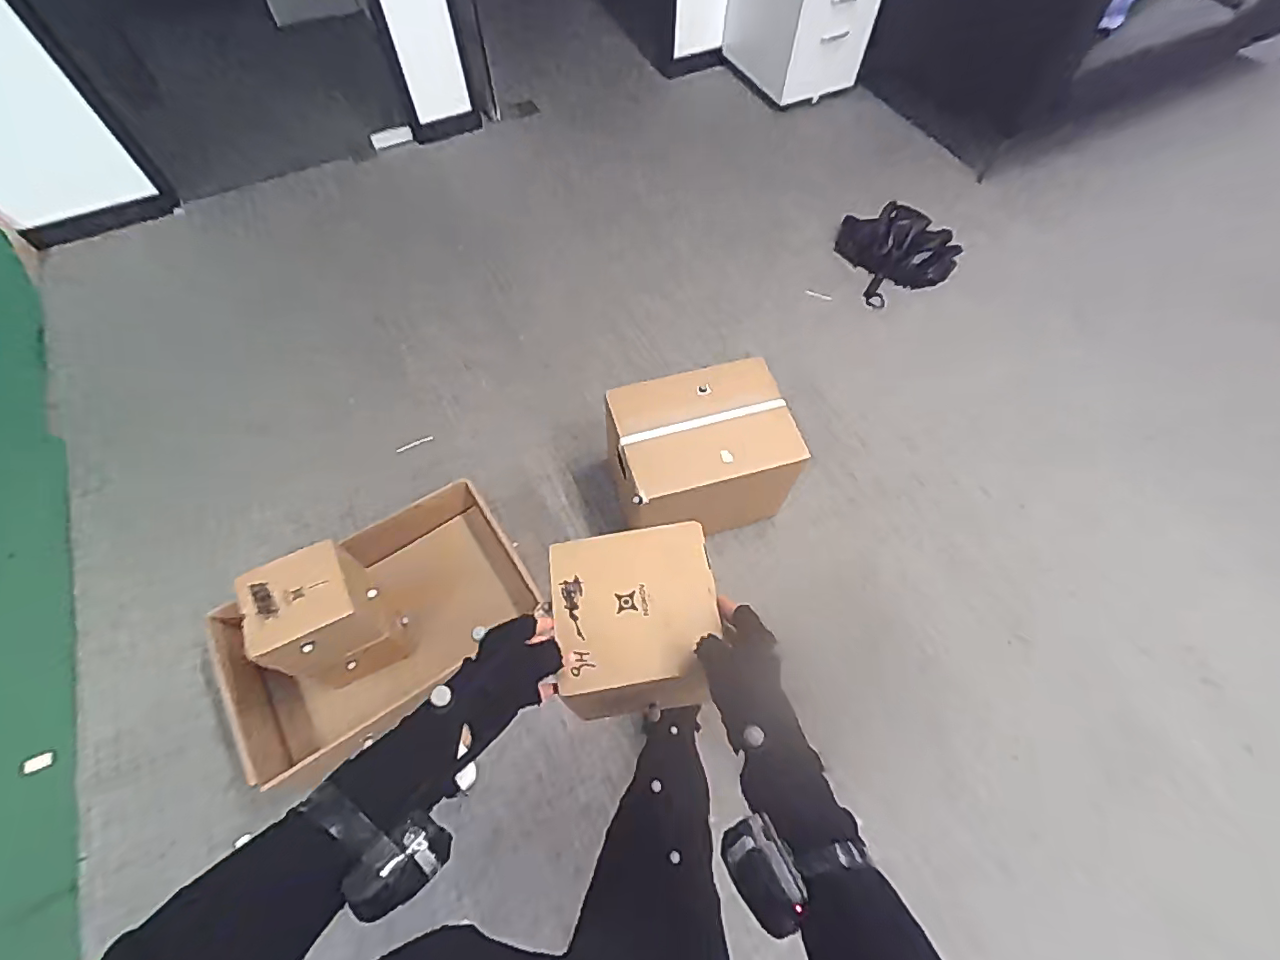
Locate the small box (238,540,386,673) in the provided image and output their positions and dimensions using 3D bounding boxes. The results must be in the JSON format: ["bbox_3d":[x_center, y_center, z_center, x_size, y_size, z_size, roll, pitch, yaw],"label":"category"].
[{"bbox_3d":[-0.624,0.250,1.044,0.179,0.176,0.168,-24,65,-16],"label":"small box"}]

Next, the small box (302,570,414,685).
[{"bbox_3d":[-0.627,0.330,1.188,0.179,0.176,0.168,-23,65,-16],"label":"small box"}]
